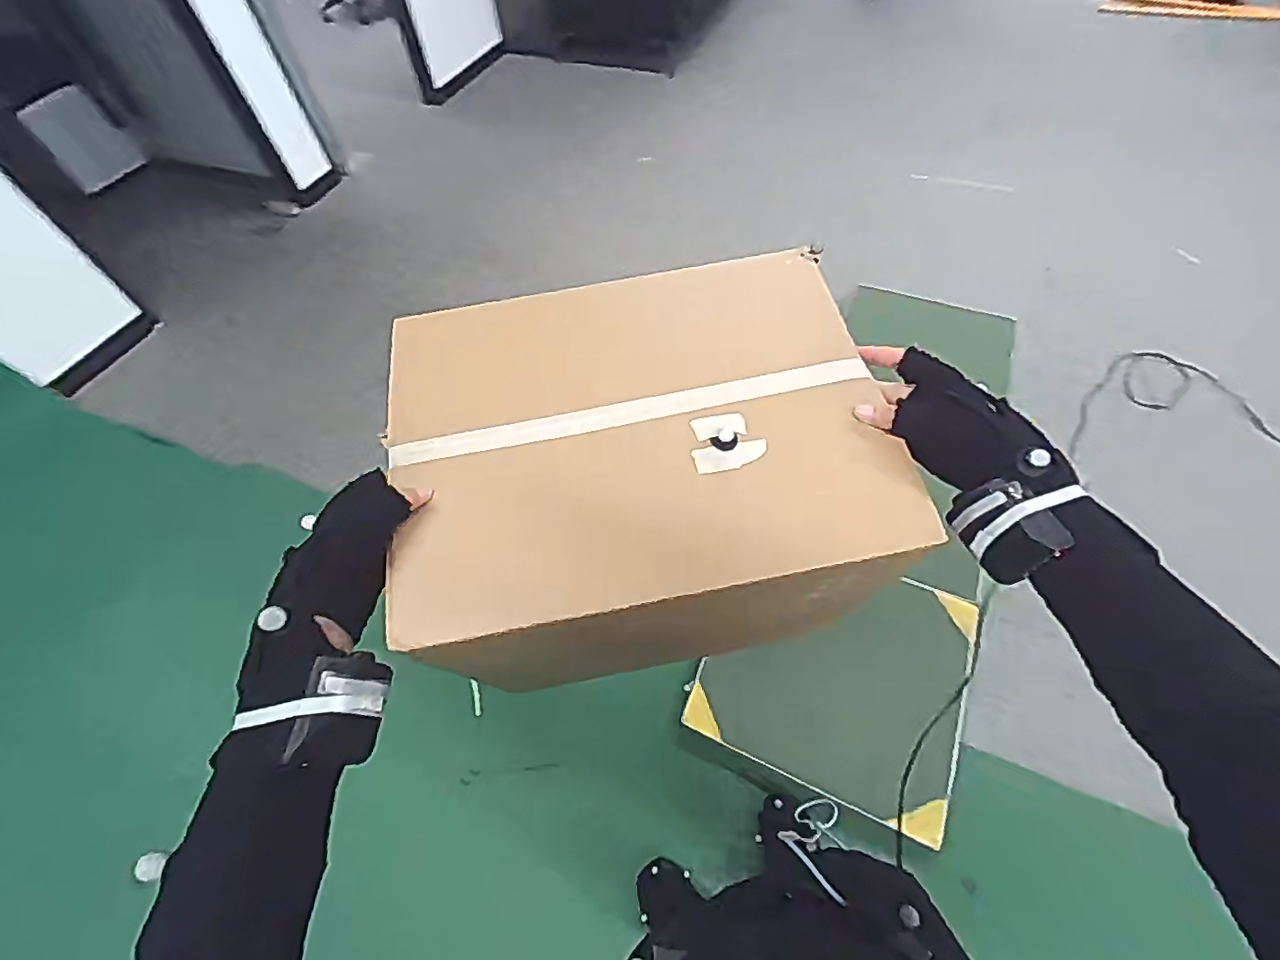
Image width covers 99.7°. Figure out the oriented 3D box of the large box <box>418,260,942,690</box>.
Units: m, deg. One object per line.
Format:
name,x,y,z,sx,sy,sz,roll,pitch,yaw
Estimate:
large box,0.013,0.016,0.595,0.408,0.320,0.320,-10,63,-3
